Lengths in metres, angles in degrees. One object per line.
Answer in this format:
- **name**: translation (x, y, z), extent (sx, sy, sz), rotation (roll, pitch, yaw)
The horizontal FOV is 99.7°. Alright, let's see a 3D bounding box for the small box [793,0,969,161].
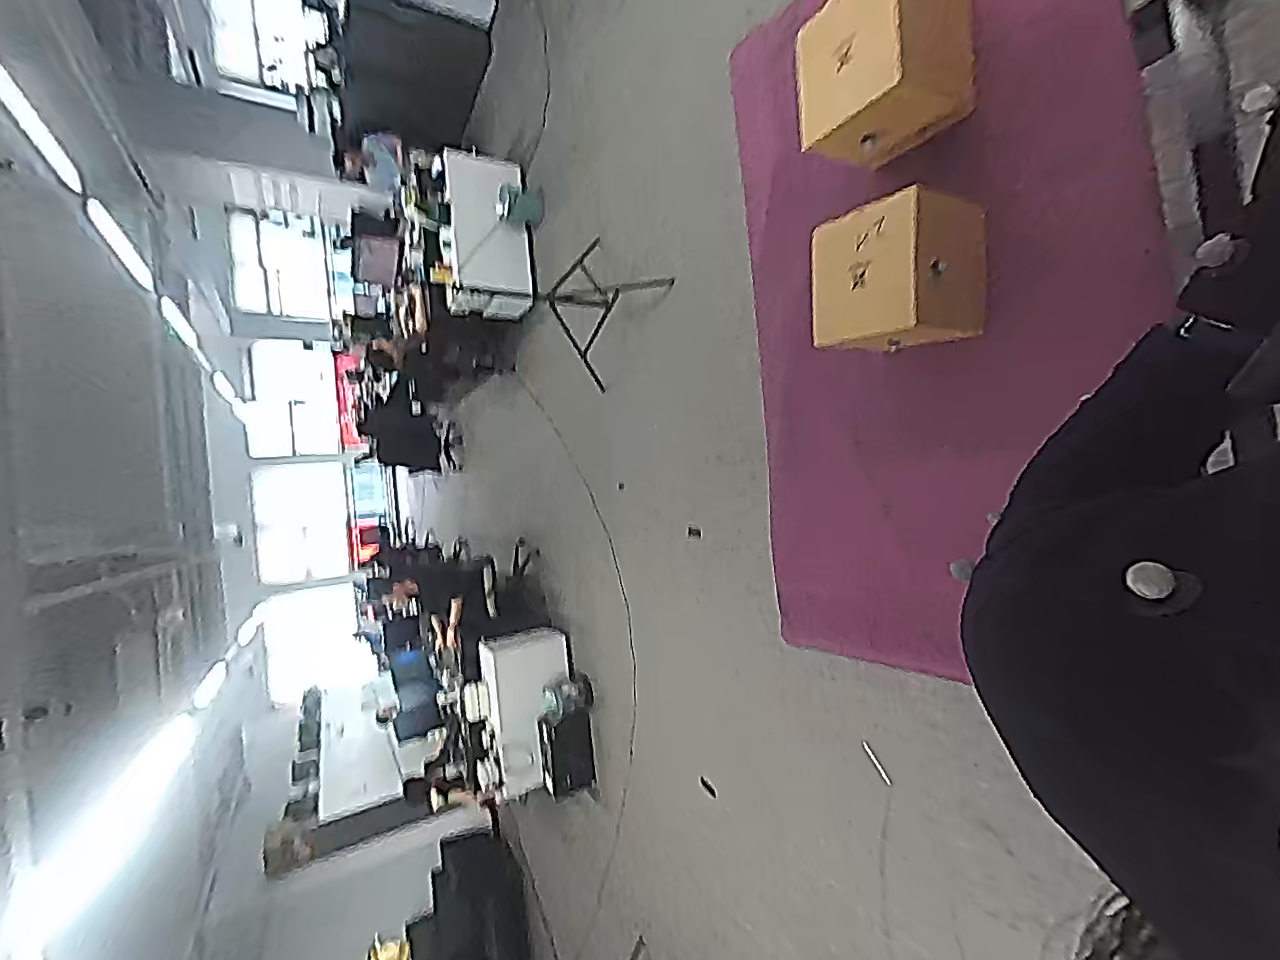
- **small box**: translation (0.345, -0.589, 0.779), extent (0.168, 0.176, 0.179), rotation (-1, 93, 61)

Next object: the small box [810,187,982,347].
- **small box**: translation (0.368, -0.290, 0.783), extent (0.168, 0.176, 0.179), rotation (7, 100, 59)
